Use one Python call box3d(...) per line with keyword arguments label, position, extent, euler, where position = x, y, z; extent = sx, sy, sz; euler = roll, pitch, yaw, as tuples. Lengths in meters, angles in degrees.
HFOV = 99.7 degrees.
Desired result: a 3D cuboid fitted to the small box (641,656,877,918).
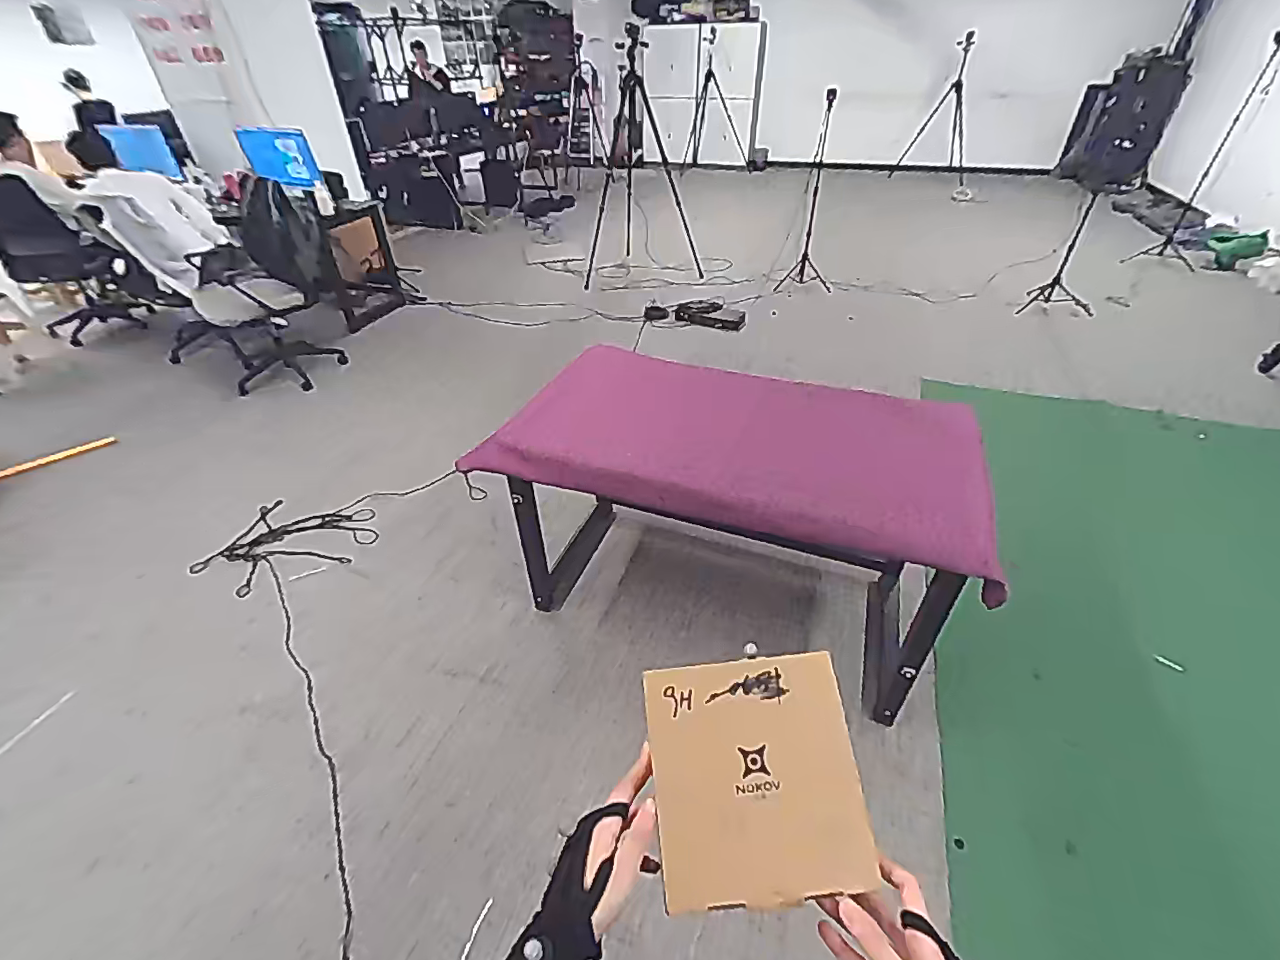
box3d(label="small box", position=(0.093, 0.267, 0.507), extent=(0.168, 0.176, 0.179), euler=(-6, 68, -1))
